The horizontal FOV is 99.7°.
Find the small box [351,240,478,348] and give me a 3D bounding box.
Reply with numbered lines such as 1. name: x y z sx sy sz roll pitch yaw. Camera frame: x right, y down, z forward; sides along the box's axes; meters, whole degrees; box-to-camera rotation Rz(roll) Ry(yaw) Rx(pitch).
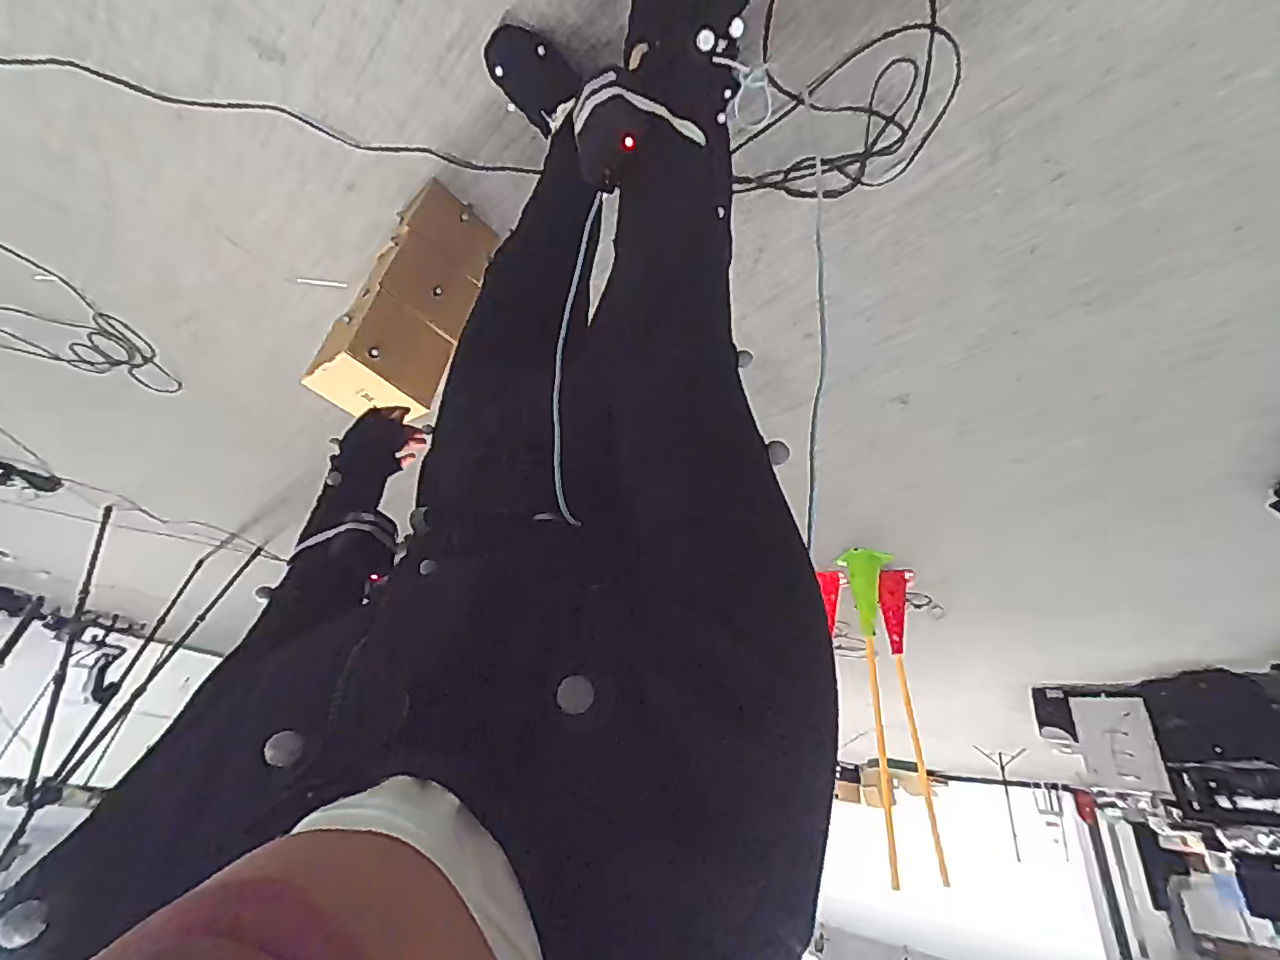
1. small box: -0.470 -0.367 1.127 0.168 0.176 0.179 -18 141 37

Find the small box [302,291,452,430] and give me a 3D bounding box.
1. small box: -0.499 -0.228 1.049 0.168 0.176 0.179 -14 142 34

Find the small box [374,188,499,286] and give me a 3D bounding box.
1. small box: -0.447 -0.513 1.205 0.168 0.176 0.179 -17 139 42
